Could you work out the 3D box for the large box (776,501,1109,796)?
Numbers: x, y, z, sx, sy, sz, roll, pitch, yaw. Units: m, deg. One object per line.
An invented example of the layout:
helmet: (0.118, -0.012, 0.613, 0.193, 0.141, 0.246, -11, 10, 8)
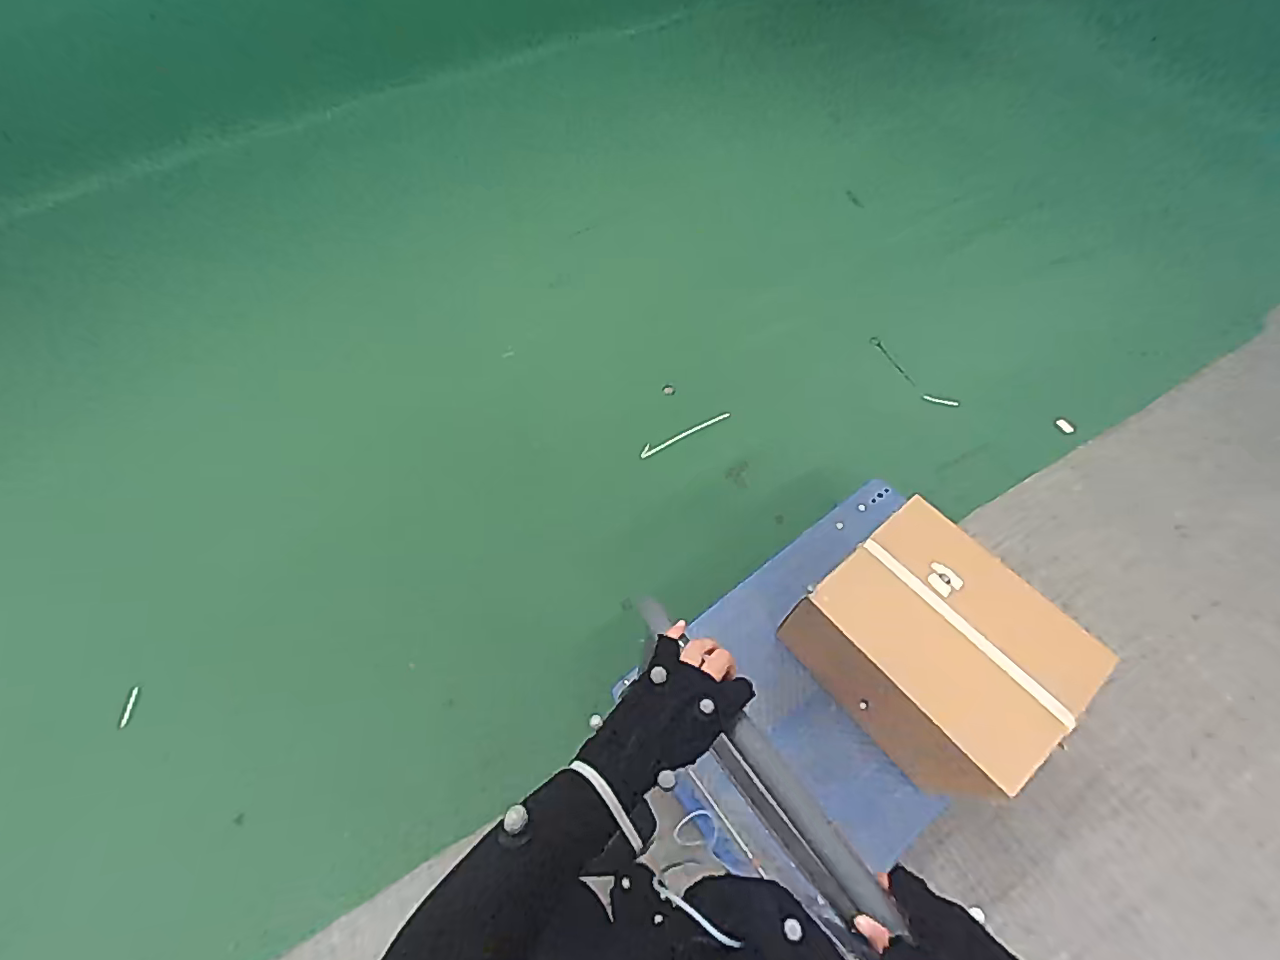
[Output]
large box: (0.533, 0.326, 1.045, 0.320, 0.320, 0.408, -36, 64, -16)
